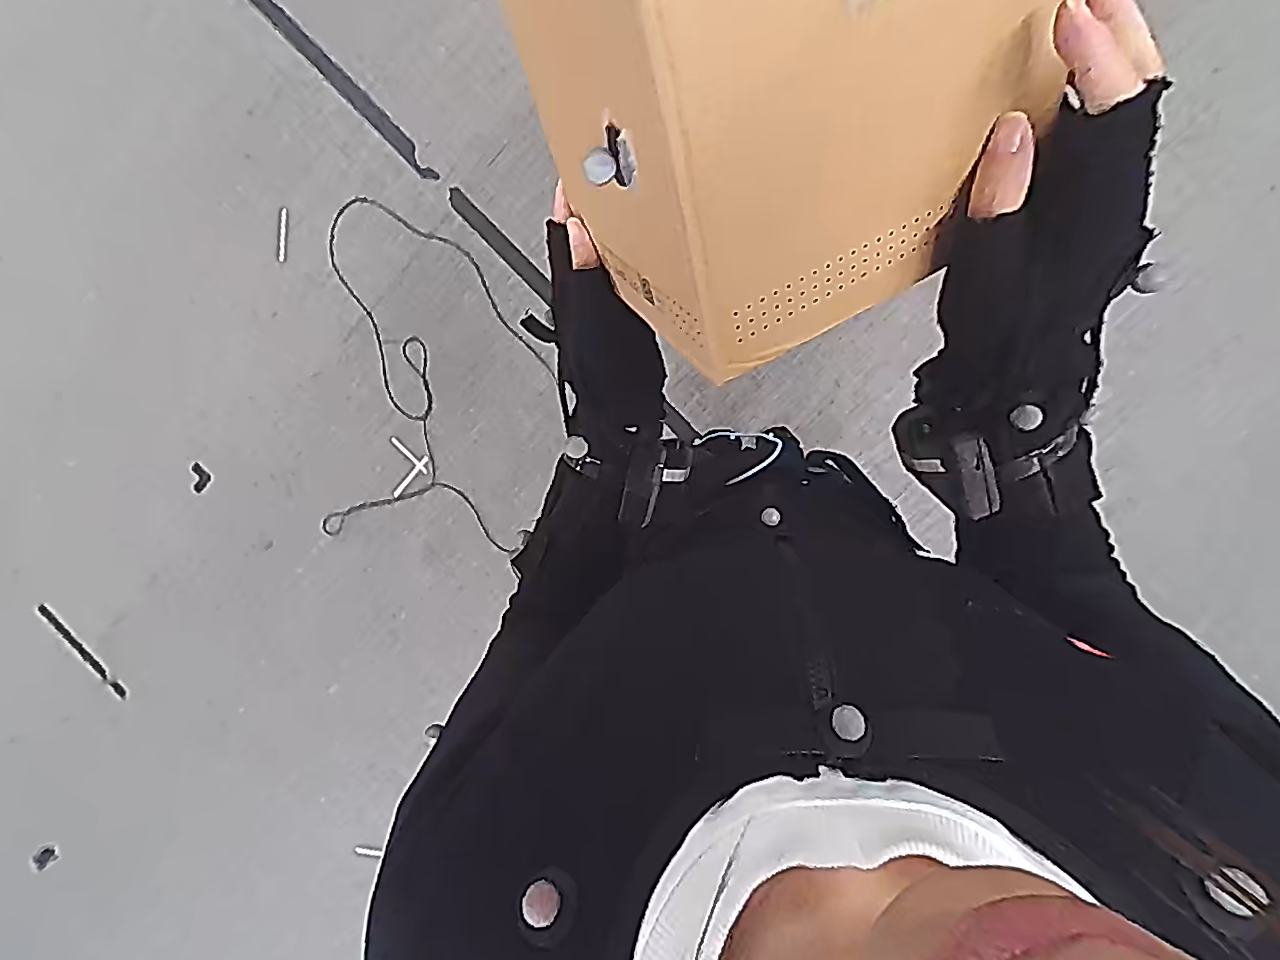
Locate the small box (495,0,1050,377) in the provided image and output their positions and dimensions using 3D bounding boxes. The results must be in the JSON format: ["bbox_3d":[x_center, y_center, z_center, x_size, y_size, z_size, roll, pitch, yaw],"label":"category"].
[{"bbox_3d":[0.056,-0.177,0.251,0.179,0.168,0.176,-28,136,-6],"label":"small box"}]
